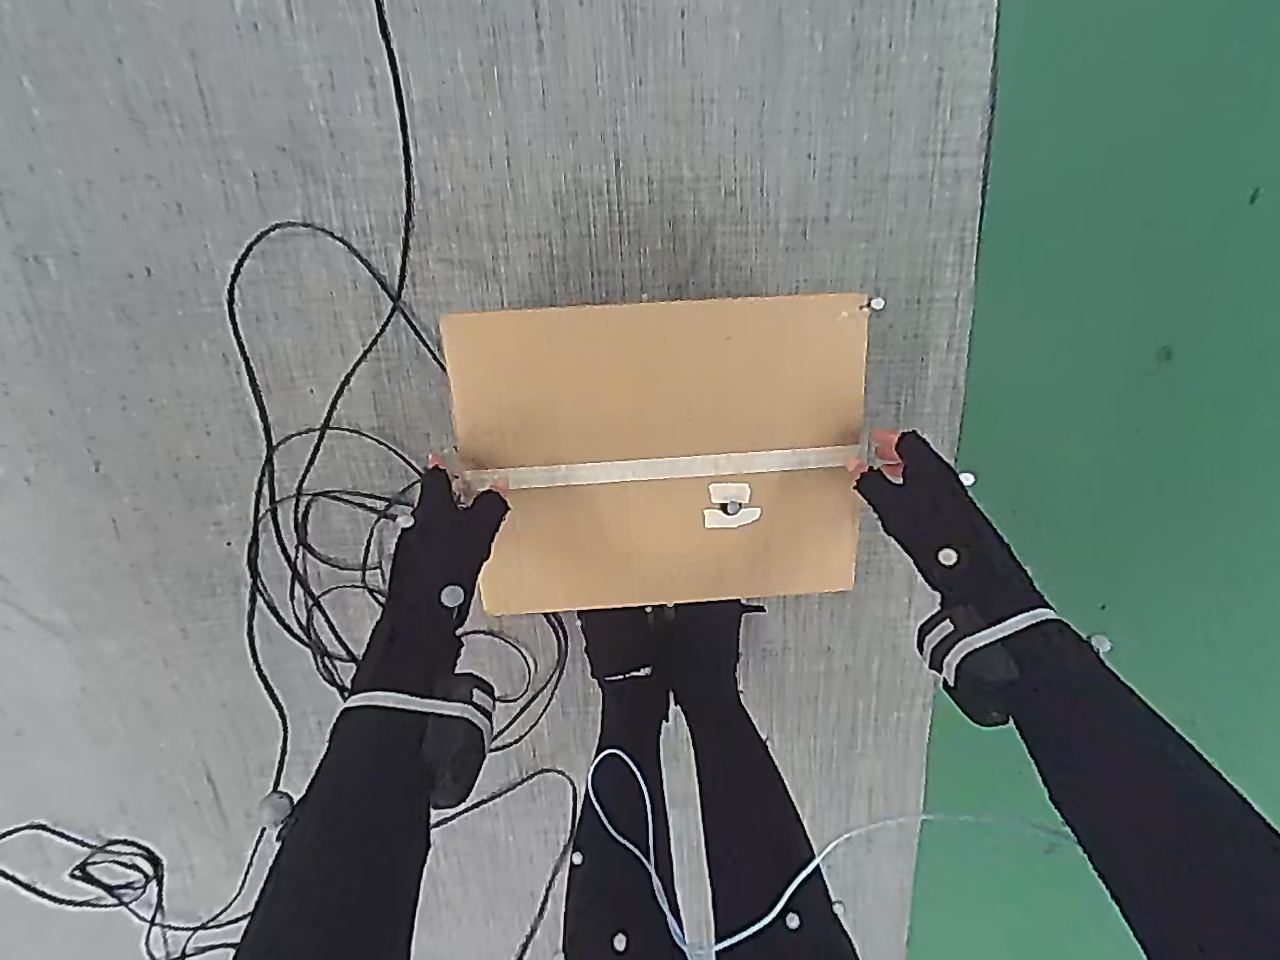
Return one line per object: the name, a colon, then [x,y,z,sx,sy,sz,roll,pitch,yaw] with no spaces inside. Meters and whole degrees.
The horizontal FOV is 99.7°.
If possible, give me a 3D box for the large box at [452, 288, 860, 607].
large box: [0.018,-0.061,0.701,0.408,0.320,0.320,-4,106,-2]
